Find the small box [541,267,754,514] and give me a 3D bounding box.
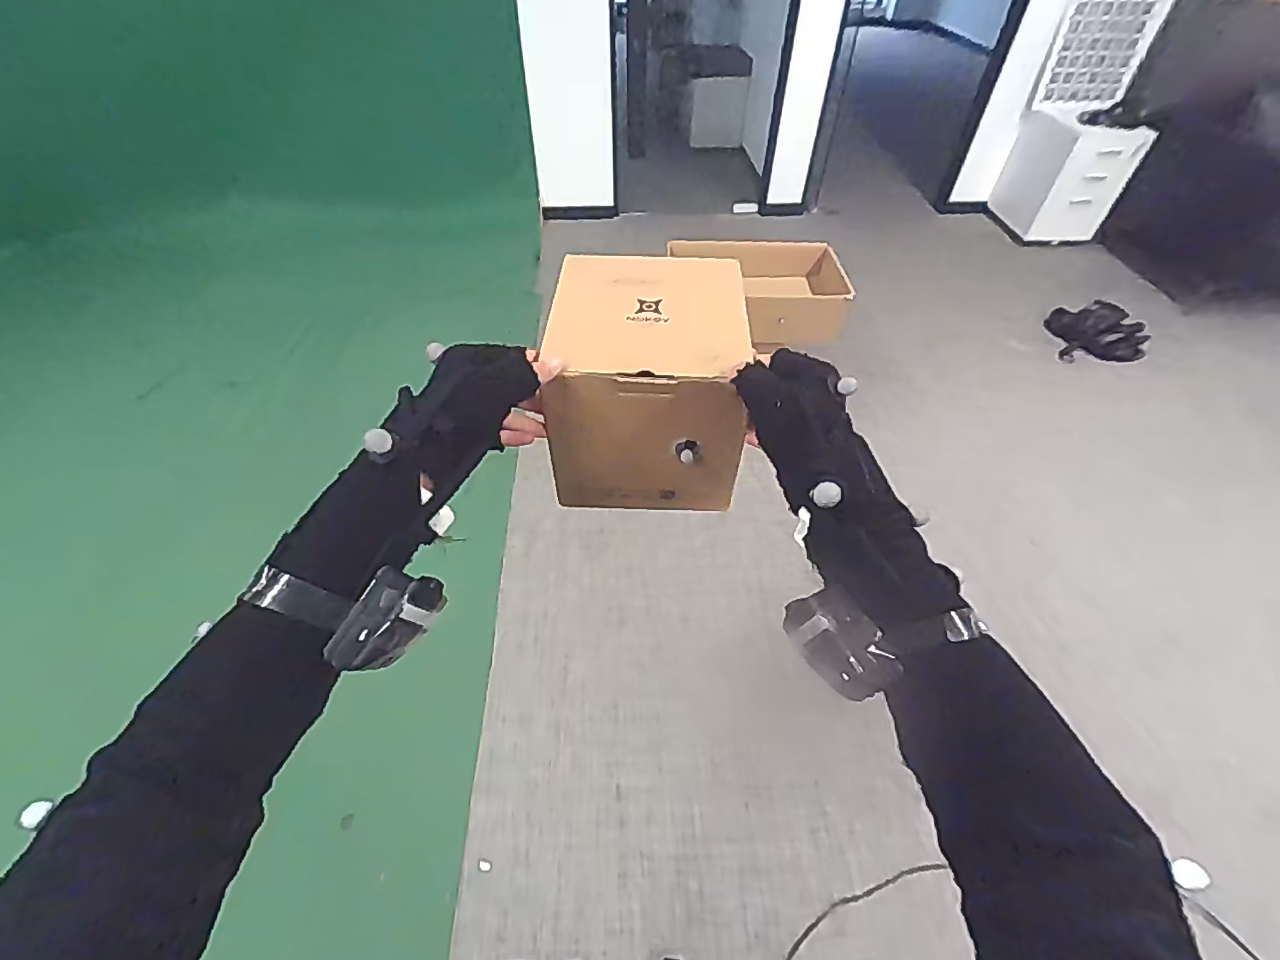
[{"bbox_3d":[0.010,-0.083,0.521,0.168,0.176,0.179,2,49,1],"label":"small box"}]
